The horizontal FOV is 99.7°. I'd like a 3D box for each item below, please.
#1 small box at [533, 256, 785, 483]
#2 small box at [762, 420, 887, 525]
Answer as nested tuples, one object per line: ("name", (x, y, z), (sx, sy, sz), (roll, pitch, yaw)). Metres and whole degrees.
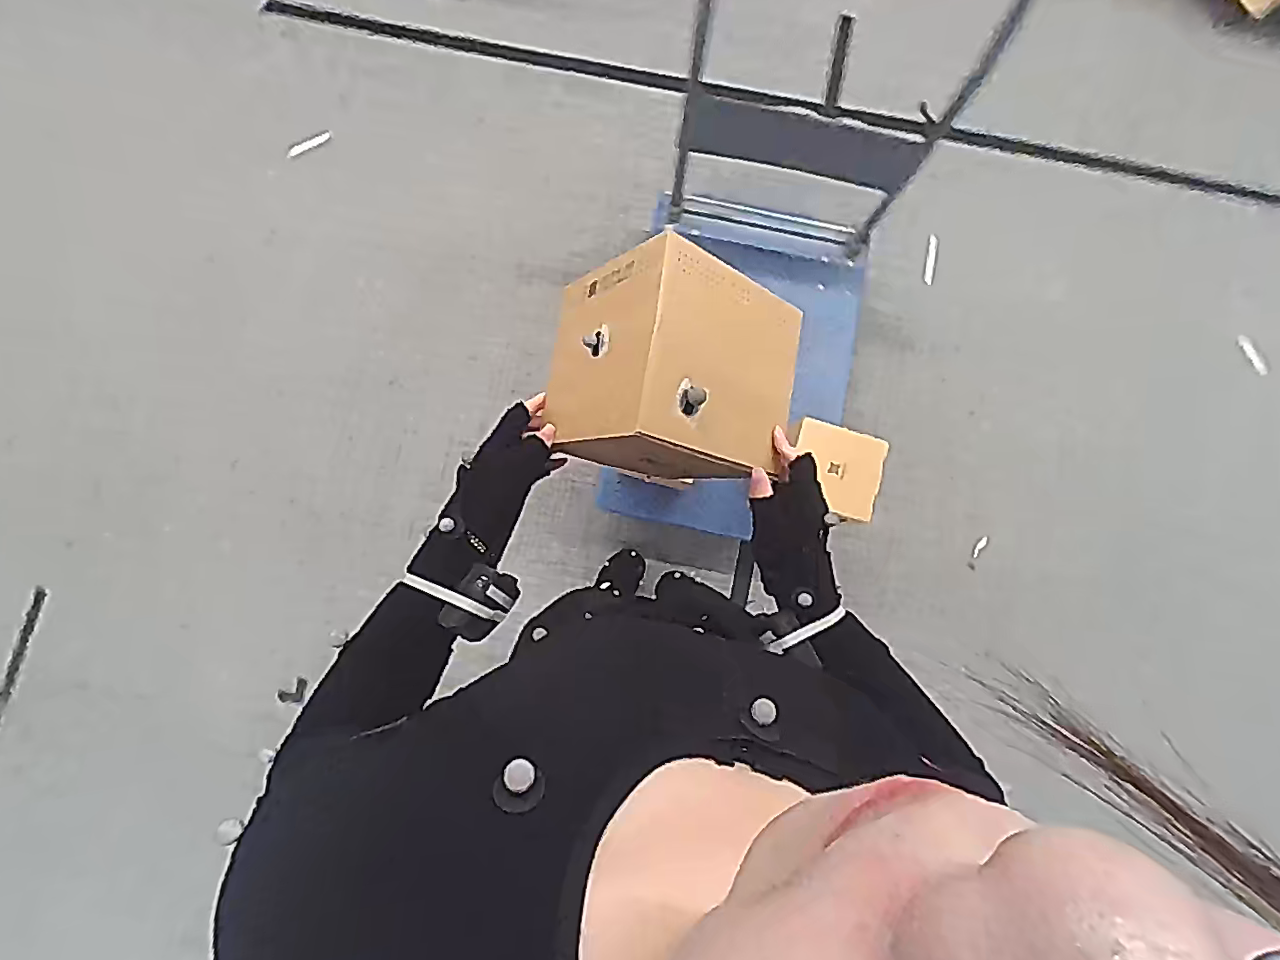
("small box", (0.020, -0.095, 0.528), (0.179, 0.168, 0.176), (12, 83, -37))
("small box", (0.370, -0.007, 1.119), (0.179, 0.176, 0.168), (17, 83, -1))
